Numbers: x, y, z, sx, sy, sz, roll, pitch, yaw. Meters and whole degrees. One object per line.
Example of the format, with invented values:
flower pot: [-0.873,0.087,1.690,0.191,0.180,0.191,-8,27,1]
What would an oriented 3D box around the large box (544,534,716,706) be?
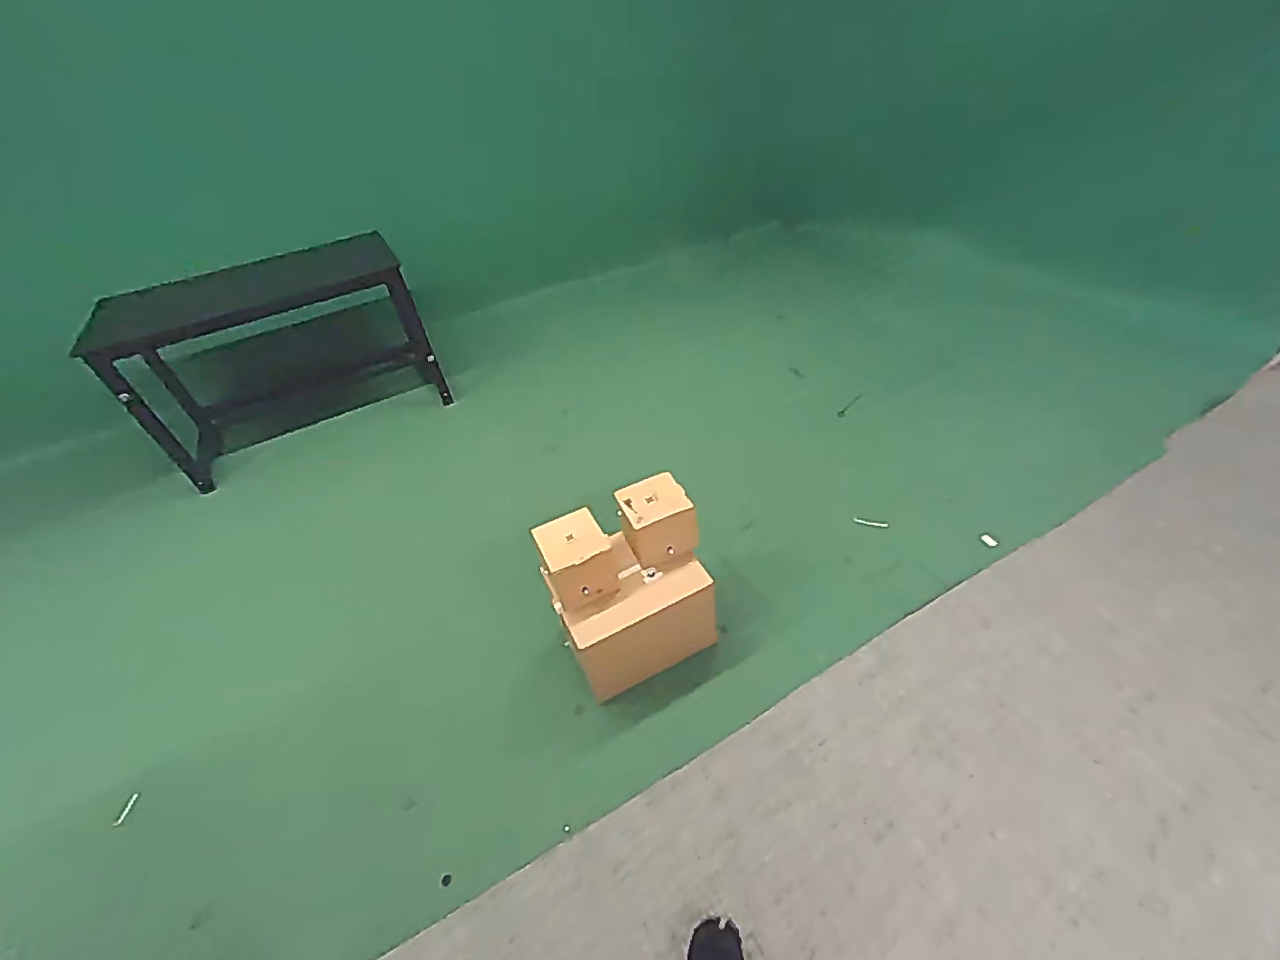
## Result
large box: [-0.022,0.384,1.606,0.408,0.320,0.320,-23,44,-16]

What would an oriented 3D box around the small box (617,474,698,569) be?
small box: [0.052,0.117,1.521,0.179,0.176,0.168,-20,42,-12]

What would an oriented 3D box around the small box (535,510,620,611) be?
small box: [-0.166,0.216,1.451,0.168,0.176,0.179,-22,43,-16]
